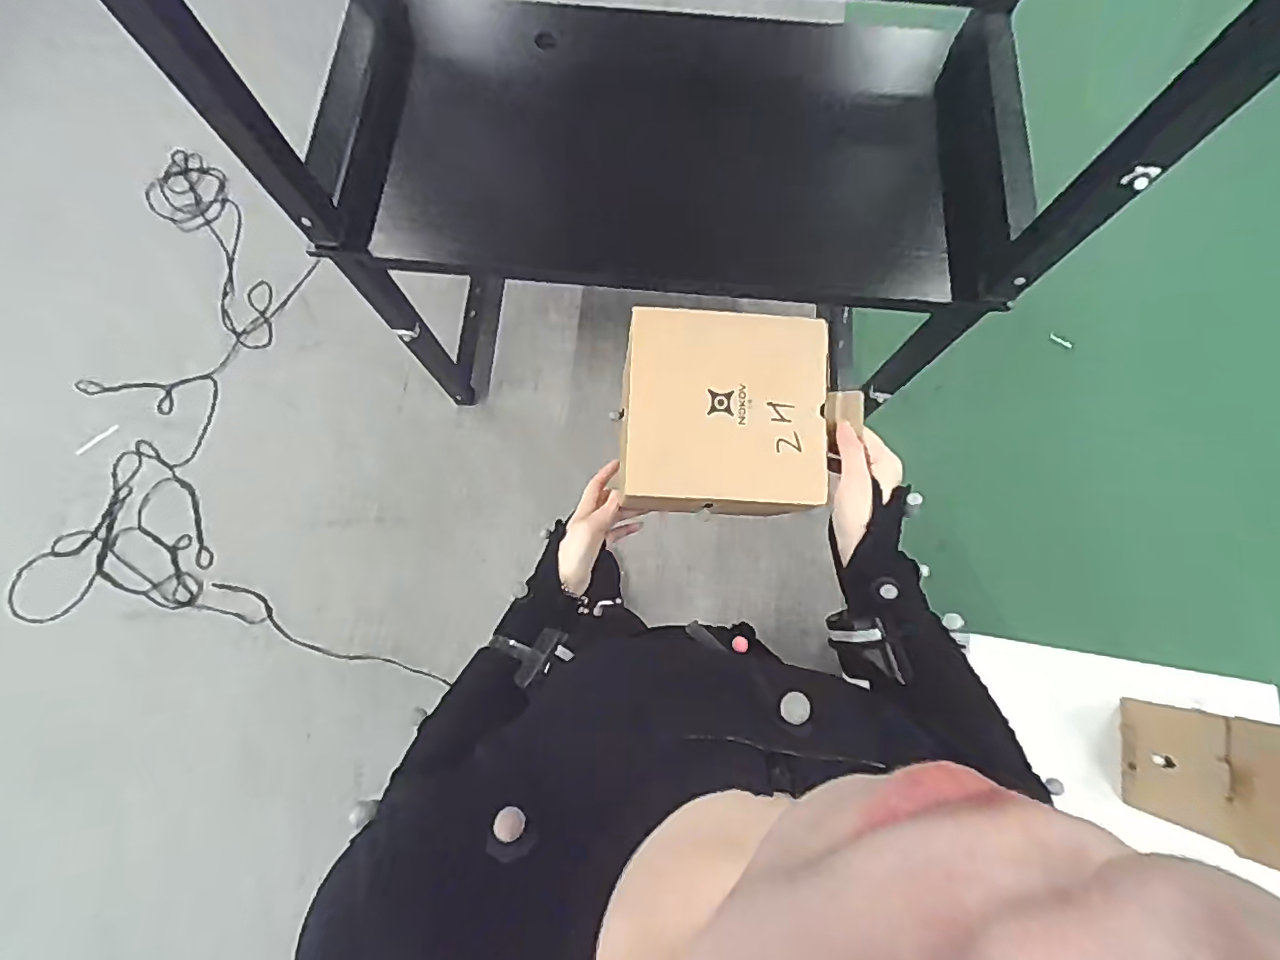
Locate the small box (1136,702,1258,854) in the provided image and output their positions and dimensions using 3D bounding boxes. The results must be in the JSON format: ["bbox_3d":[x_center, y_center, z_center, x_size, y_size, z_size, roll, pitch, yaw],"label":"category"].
[{"bbox_3d":[0.859,0.424,0.769,0.179,0.176,0.168,10,77,3],"label":"small box"}]

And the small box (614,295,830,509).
[{"bbox_3d":[0.066,-0.060,0.523,0.179,0.176,0.168,3,84,-4],"label":"small box"}]

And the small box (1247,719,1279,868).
[{"bbox_3d":[0.855,0.388,0.610,0.168,0.176,0.179,12,77,3],"label":"small box"}]
